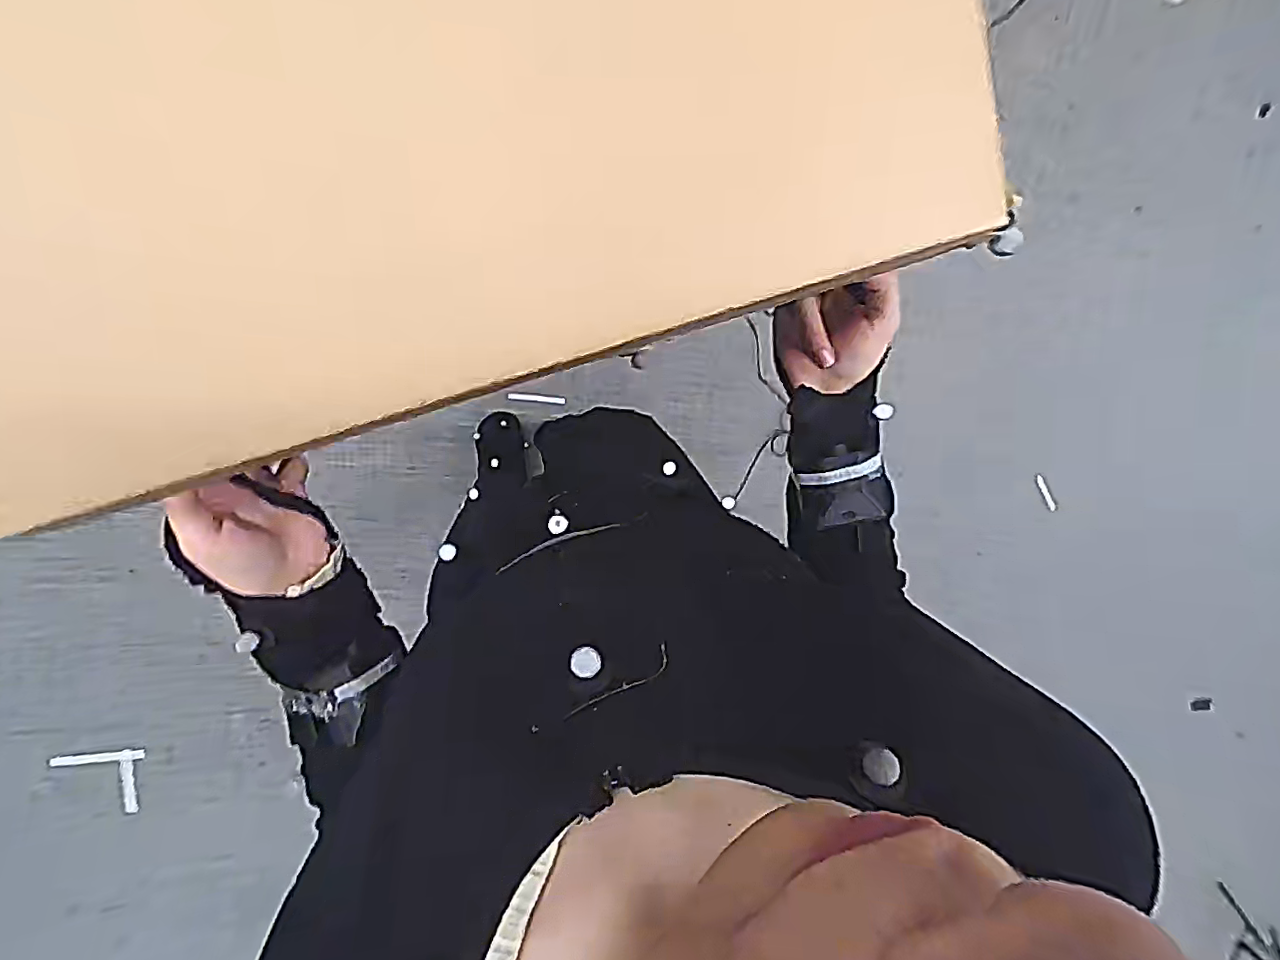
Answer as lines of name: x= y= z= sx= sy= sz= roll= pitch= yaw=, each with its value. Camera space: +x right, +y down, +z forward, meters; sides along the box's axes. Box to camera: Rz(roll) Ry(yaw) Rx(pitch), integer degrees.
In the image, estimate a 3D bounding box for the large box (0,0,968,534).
large box: x=-0.125 y=-0.215 z=0.312 sx=0.408 sy=0.320 sz=0.320 roll=-21 pitch=105 yaw=-4
